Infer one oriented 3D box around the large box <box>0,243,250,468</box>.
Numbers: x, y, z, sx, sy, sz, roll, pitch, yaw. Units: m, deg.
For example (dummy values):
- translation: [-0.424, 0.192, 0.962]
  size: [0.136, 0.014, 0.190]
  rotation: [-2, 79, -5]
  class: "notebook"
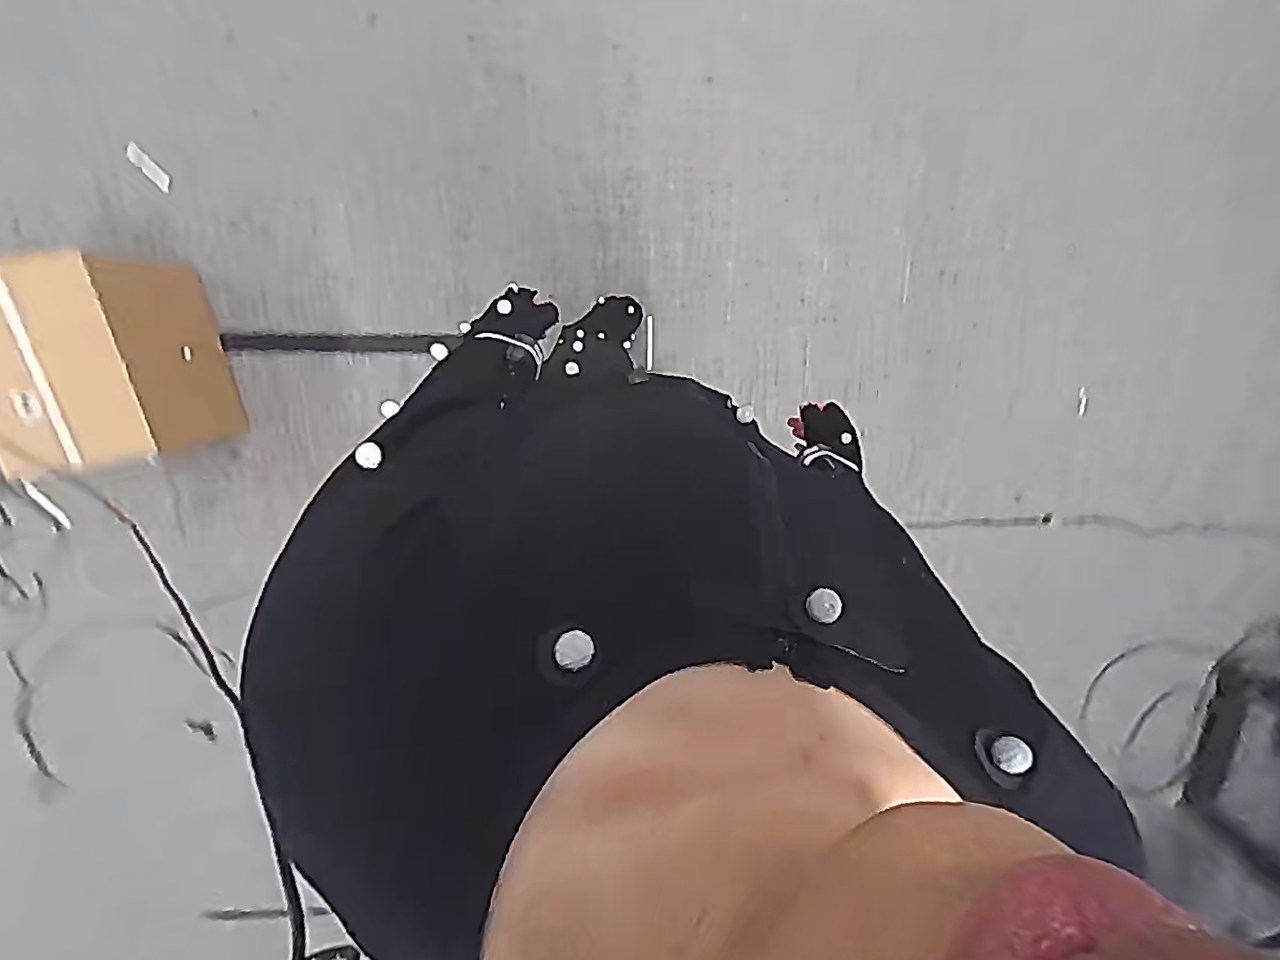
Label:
- translation: [-1.172, -0.275, 1.205]
  size: [0.320, 0.320, 0.408]
  rotation: [-8, 106, -2]
  class: "large box"
